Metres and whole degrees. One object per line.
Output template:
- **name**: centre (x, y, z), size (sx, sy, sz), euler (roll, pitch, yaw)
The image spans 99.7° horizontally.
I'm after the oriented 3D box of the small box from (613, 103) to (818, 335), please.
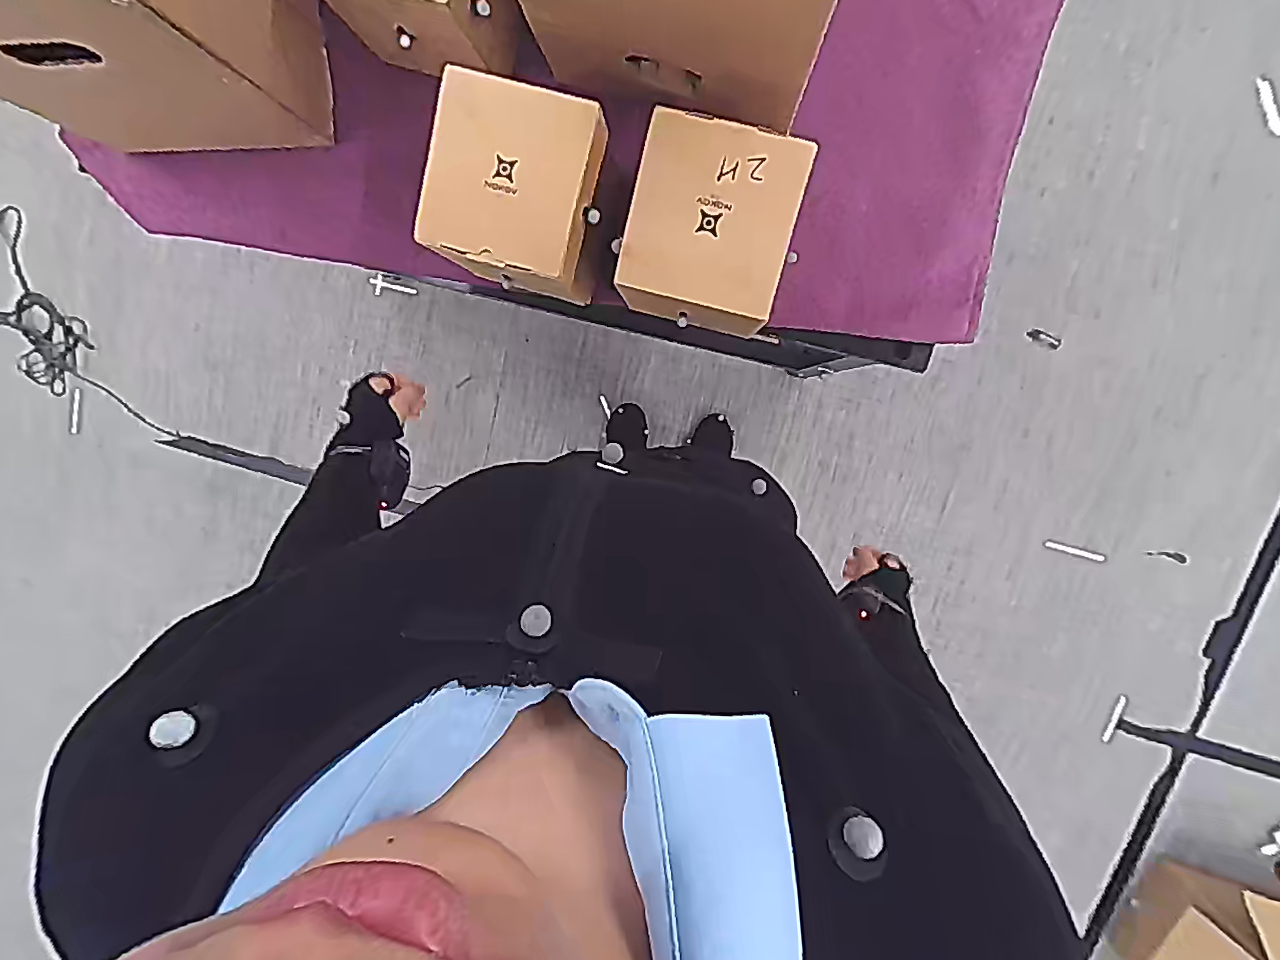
- **small box**: centre (0.079, -0.275, 0.615), size (0.168, 0.176, 0.179), euler (16, 99, 2)
